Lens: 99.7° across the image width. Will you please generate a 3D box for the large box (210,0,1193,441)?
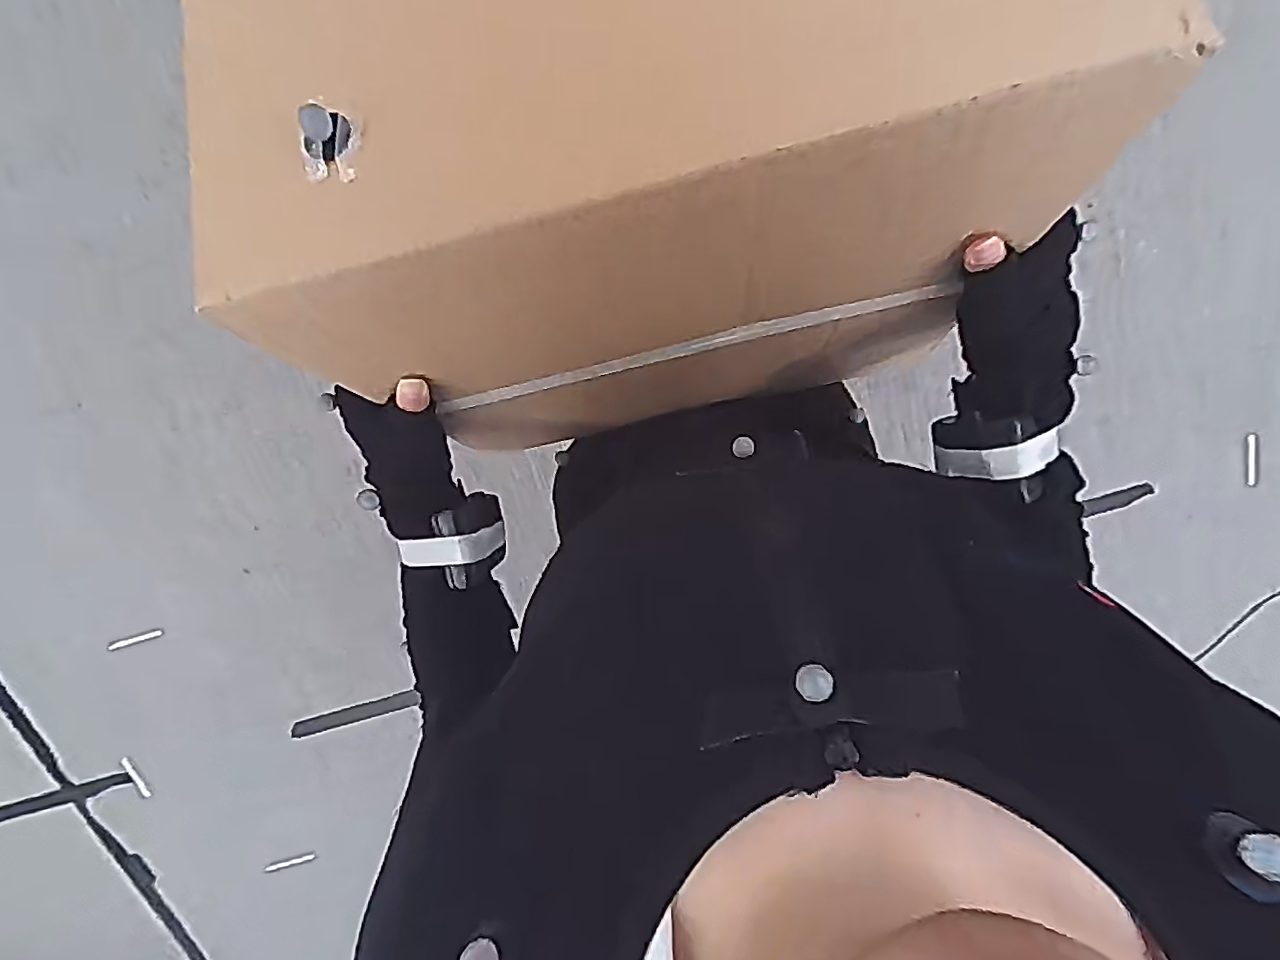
[{"bbox_3d":[0.000,-0.248,0.388,0.408,0.320,0.320,-12,80,5],"label":"large box"}]
